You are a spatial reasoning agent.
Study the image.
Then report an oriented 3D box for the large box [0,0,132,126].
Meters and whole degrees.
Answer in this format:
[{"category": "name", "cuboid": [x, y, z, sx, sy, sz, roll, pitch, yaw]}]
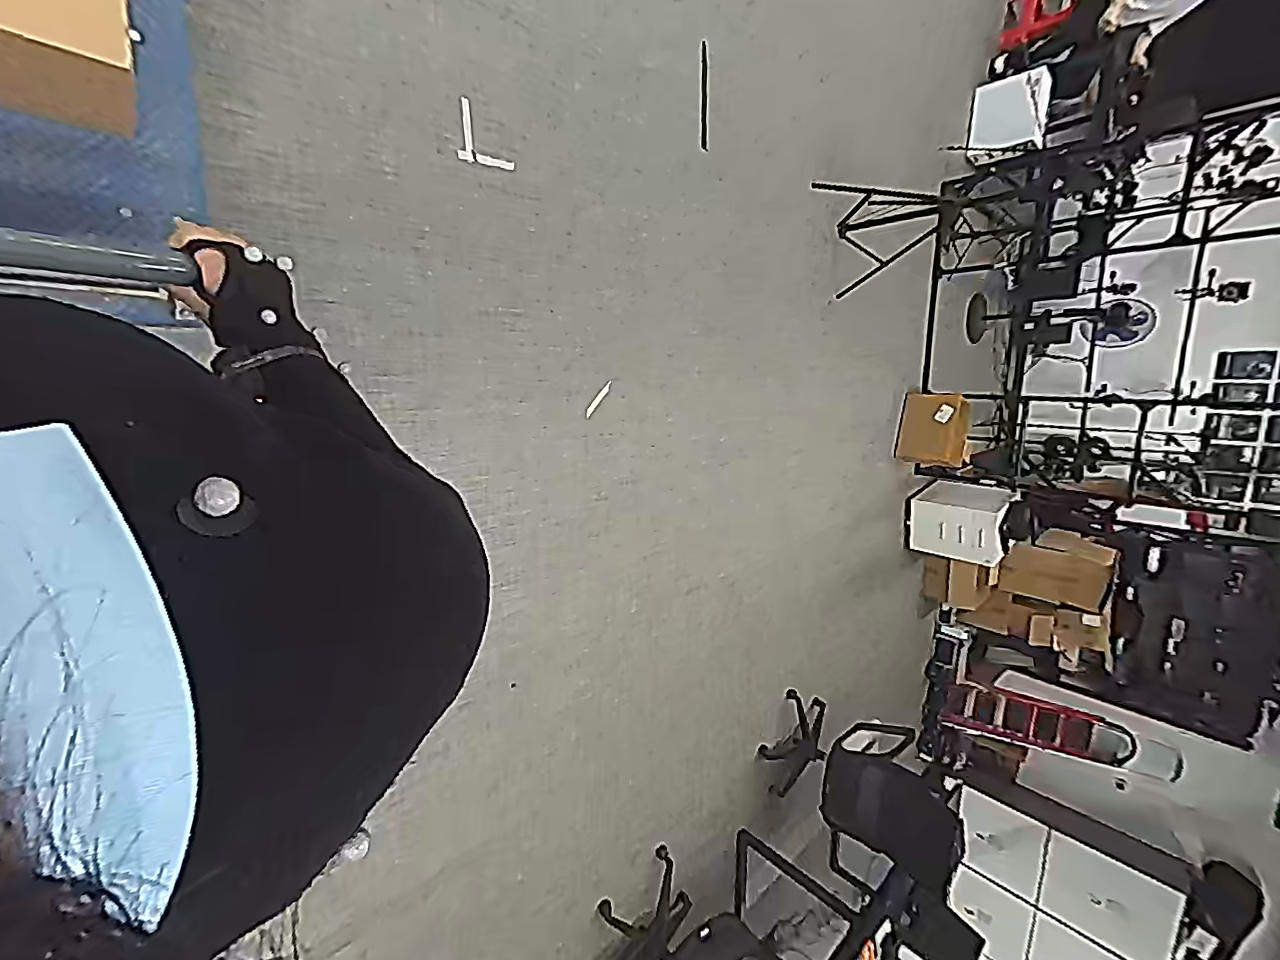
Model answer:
[{"category": "large box", "cuboid": [-0.924, -0.712, 0.670, 0.408, 0.320, 0.320, -6, 102, -42]}]
